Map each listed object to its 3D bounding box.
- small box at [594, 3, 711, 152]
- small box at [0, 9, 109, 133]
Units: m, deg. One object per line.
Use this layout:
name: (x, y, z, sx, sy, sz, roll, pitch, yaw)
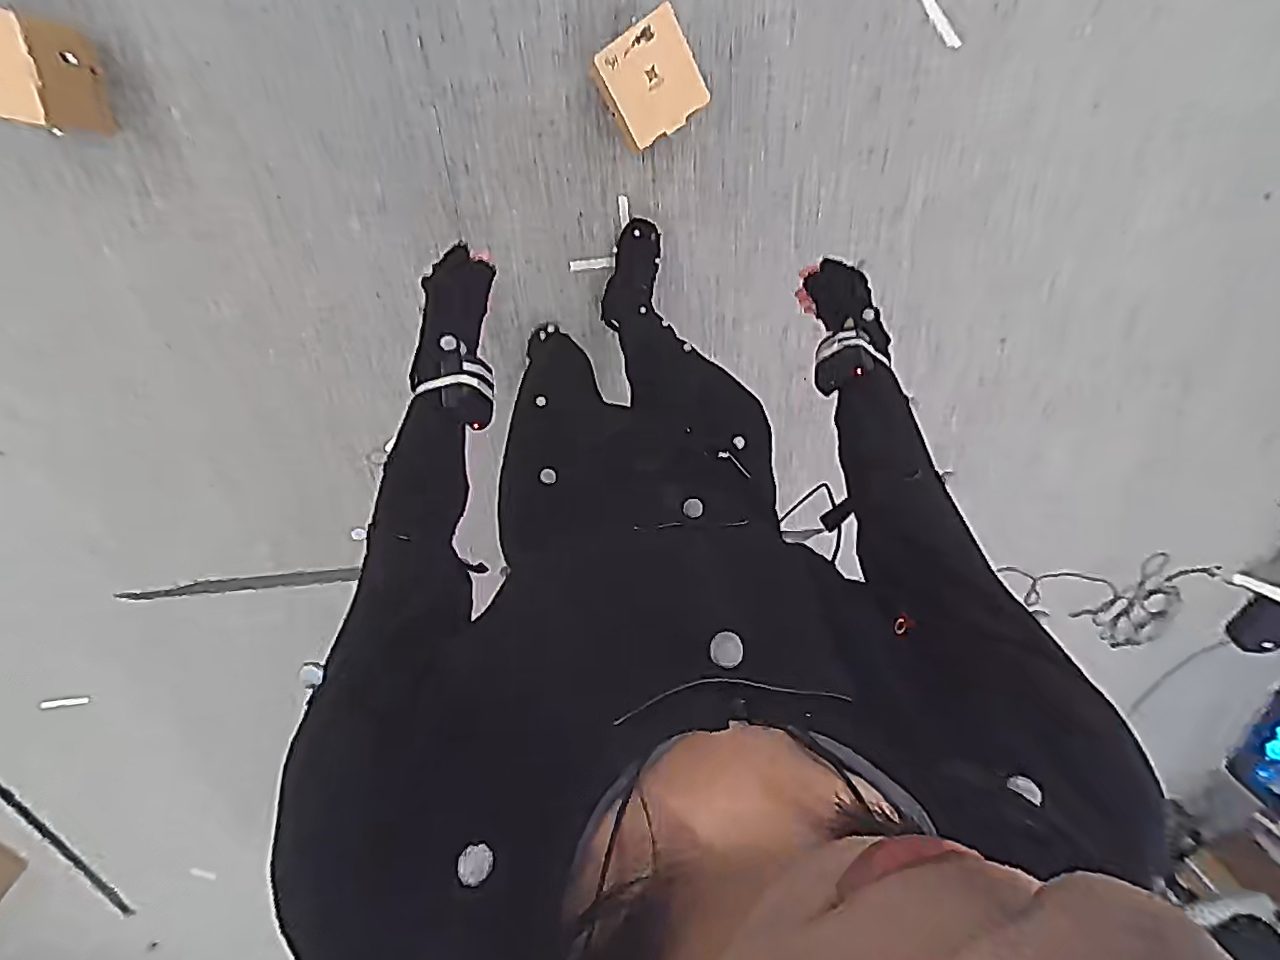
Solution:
small box: (0.020, -0.793, 1.086, 0.168, 0.176, 0.179, -30, 118, 10)
small box: (-1.137, -0.752, 0.991, 0.179, 0.176, 0.168, 6, 116, -8)
